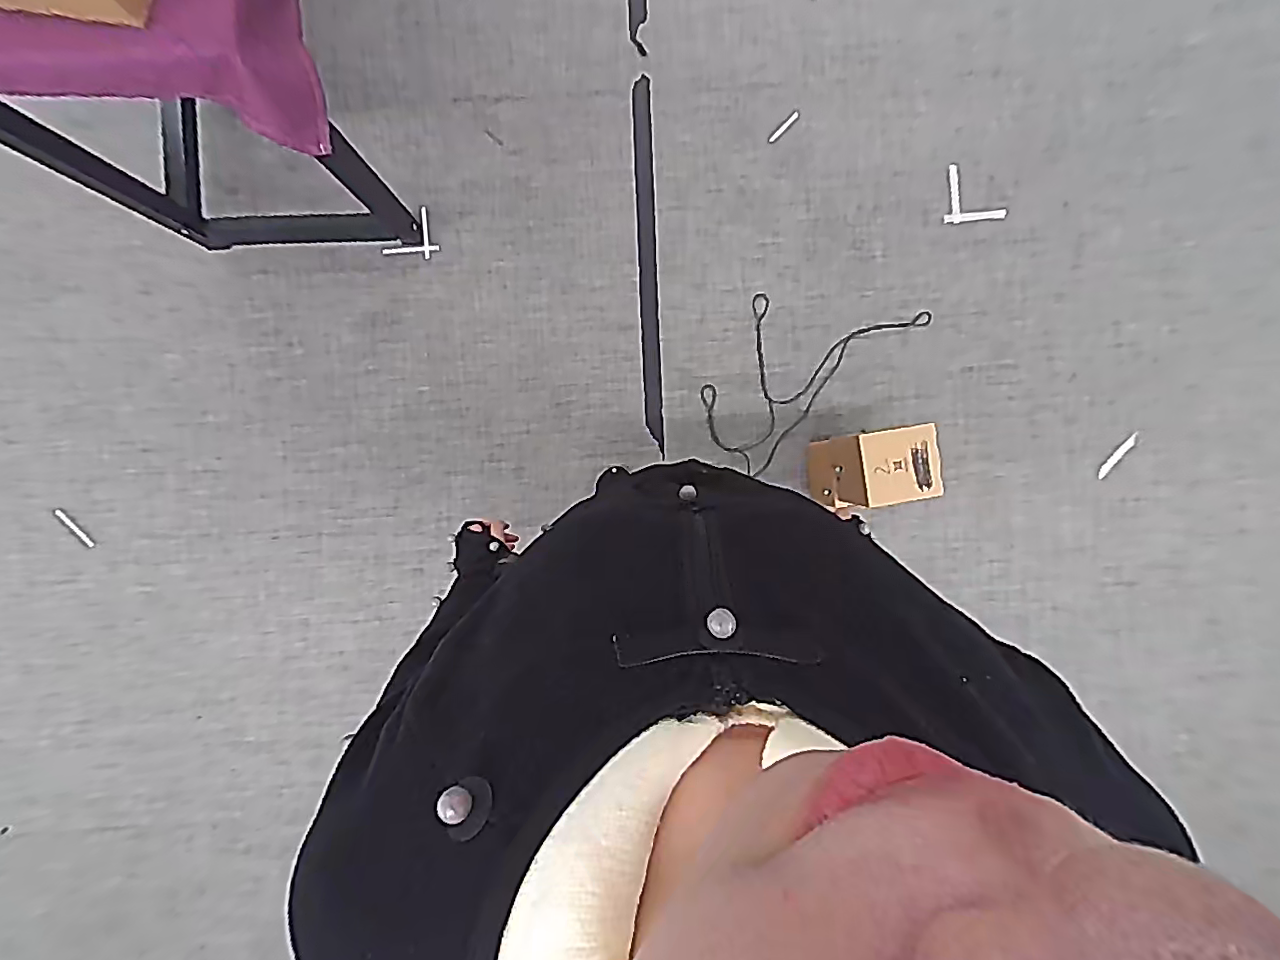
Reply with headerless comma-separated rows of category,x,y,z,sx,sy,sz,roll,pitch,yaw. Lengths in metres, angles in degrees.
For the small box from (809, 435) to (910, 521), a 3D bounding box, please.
small box,0.563,-0.007,1.396,0.179,0.176,0.168,-12,112,-19
